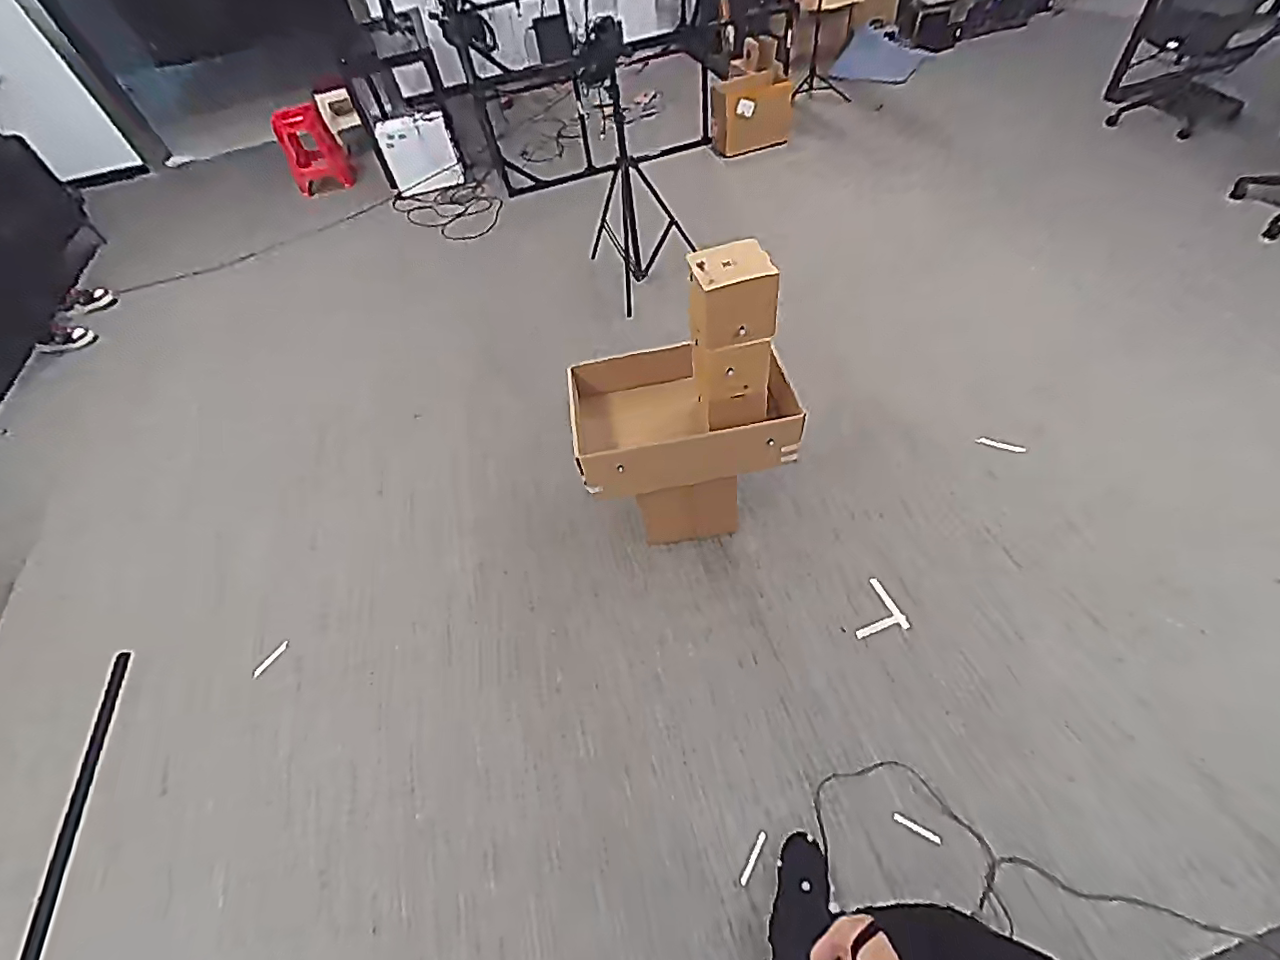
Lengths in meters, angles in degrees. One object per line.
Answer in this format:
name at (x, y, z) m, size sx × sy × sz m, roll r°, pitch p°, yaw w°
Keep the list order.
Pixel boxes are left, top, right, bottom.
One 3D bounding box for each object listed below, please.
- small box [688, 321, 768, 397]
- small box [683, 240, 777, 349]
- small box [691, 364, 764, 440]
small box at (0.228, -0.334, 1.414) m, size 0.168 × 0.176 × 0.179 m, roll -13°, pitch 50°, yaw -1°
small box at (0.209, -0.439, 1.289) m, size 0.179 × 0.176 × 0.168 m, roll -14°, pitch 50°, yaw -3°
small box at (0.248, -0.233, 1.539) m, size 0.168 × 0.176 × 0.179 m, roll -13°, pitch 50°, yaw -1°
